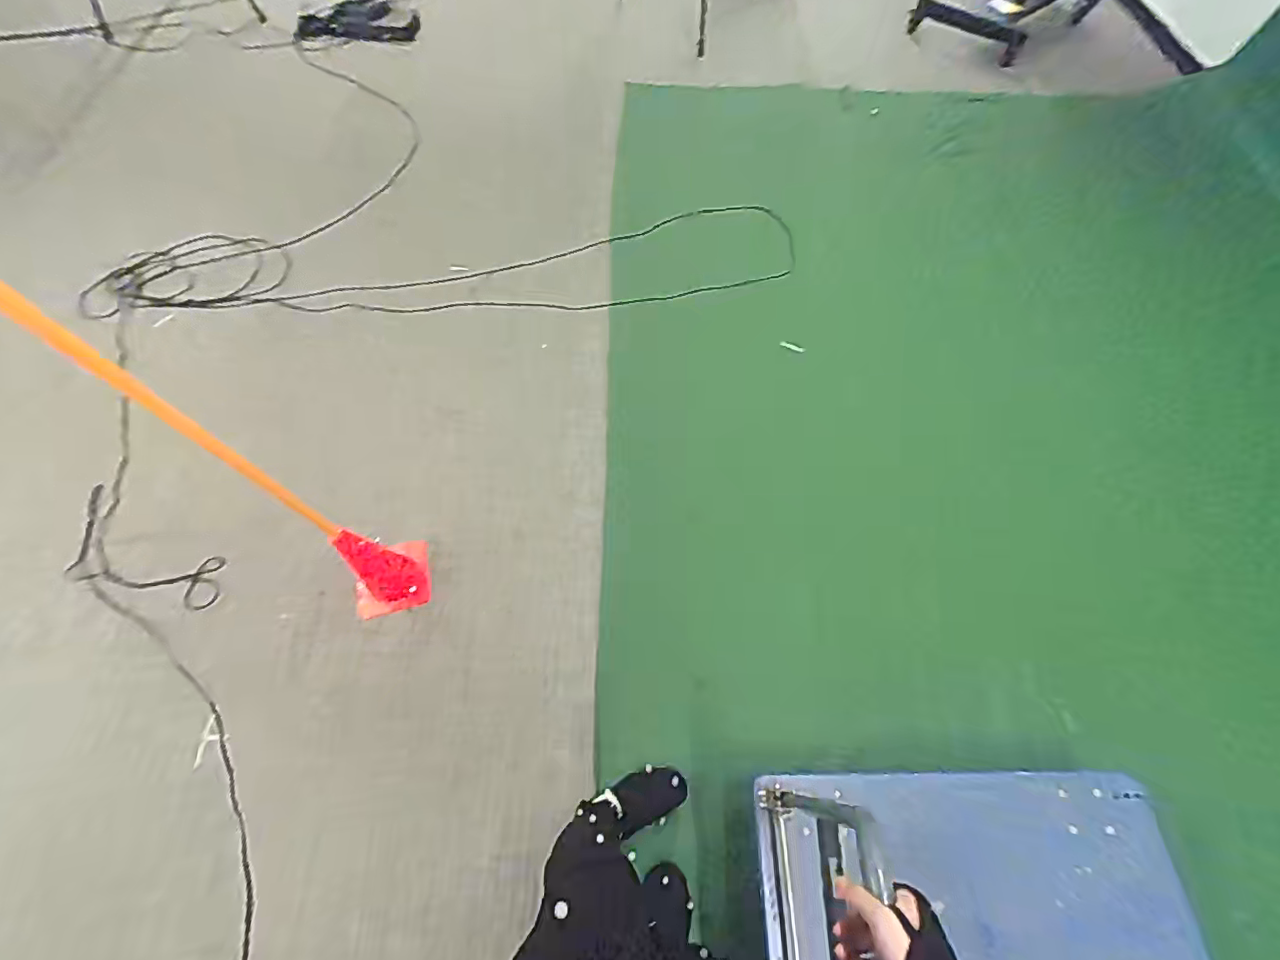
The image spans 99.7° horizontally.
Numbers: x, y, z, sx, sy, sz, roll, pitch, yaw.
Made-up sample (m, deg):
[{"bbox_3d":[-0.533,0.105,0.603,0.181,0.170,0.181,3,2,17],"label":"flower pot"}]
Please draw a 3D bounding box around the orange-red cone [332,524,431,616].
[{"bbox_3d":[-0.706,0.202,1.415,0.198,0.360,0.199,-12,62,-8],"label":"orange-red cone"}]
